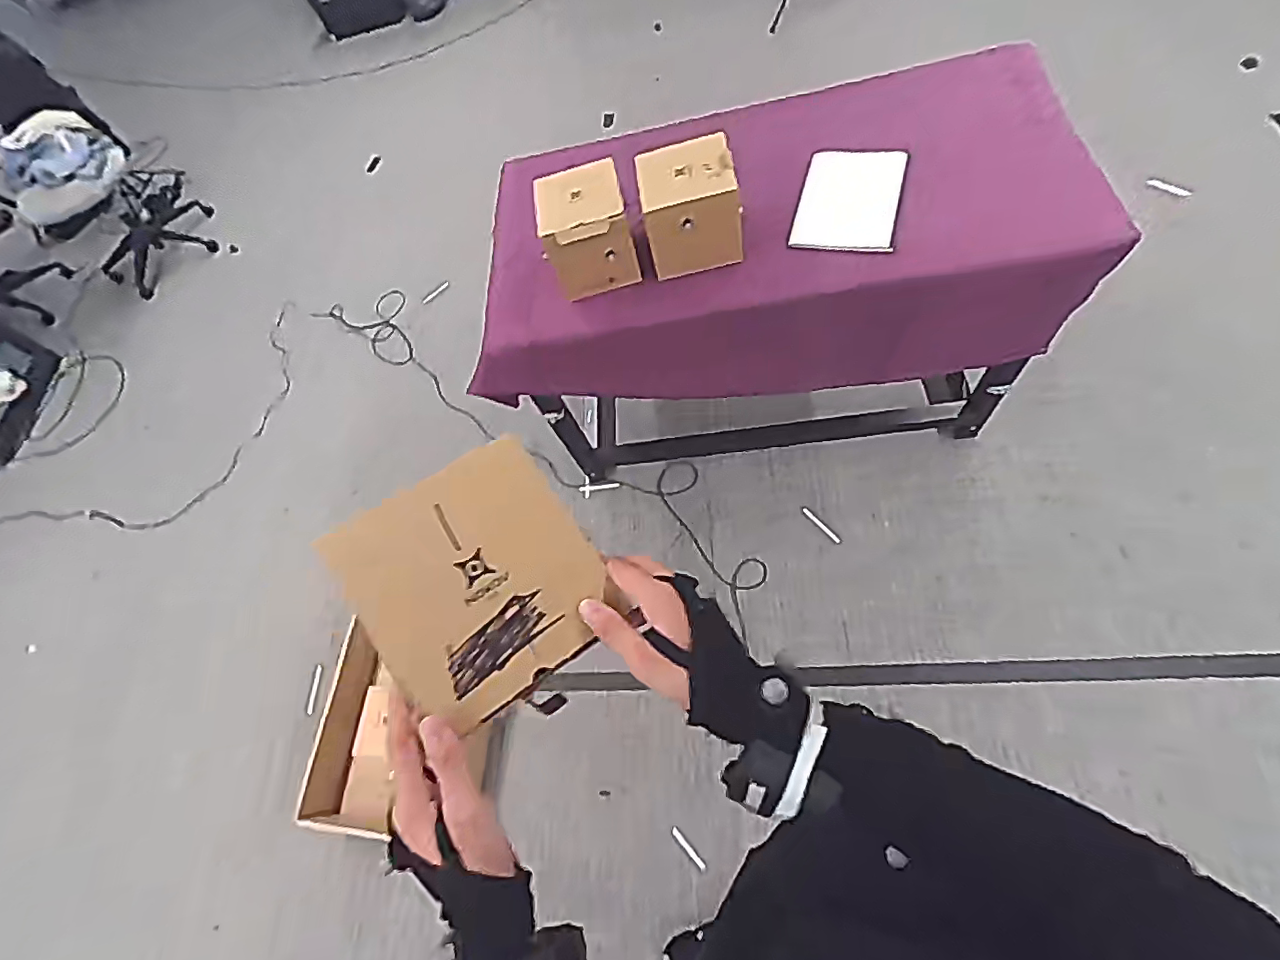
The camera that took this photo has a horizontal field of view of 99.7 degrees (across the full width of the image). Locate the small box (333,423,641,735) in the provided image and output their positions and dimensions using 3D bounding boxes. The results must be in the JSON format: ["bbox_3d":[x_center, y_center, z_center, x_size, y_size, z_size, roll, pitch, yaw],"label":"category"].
[{"bbox_3d":[-0.121,0.085,0.476,0.168,0.176,0.179,-33,81,-16],"label":"small box"}]

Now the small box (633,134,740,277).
[{"bbox_3d":[0.094,-0.529,1.062,0.179,0.176,0.168,-10,64,8],"label":"small box"}]

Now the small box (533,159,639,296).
[{"bbox_3d":[-0.106,-0.501,1.100,0.168,0.176,0.179,-13,63,6],"label":"small box"}]
